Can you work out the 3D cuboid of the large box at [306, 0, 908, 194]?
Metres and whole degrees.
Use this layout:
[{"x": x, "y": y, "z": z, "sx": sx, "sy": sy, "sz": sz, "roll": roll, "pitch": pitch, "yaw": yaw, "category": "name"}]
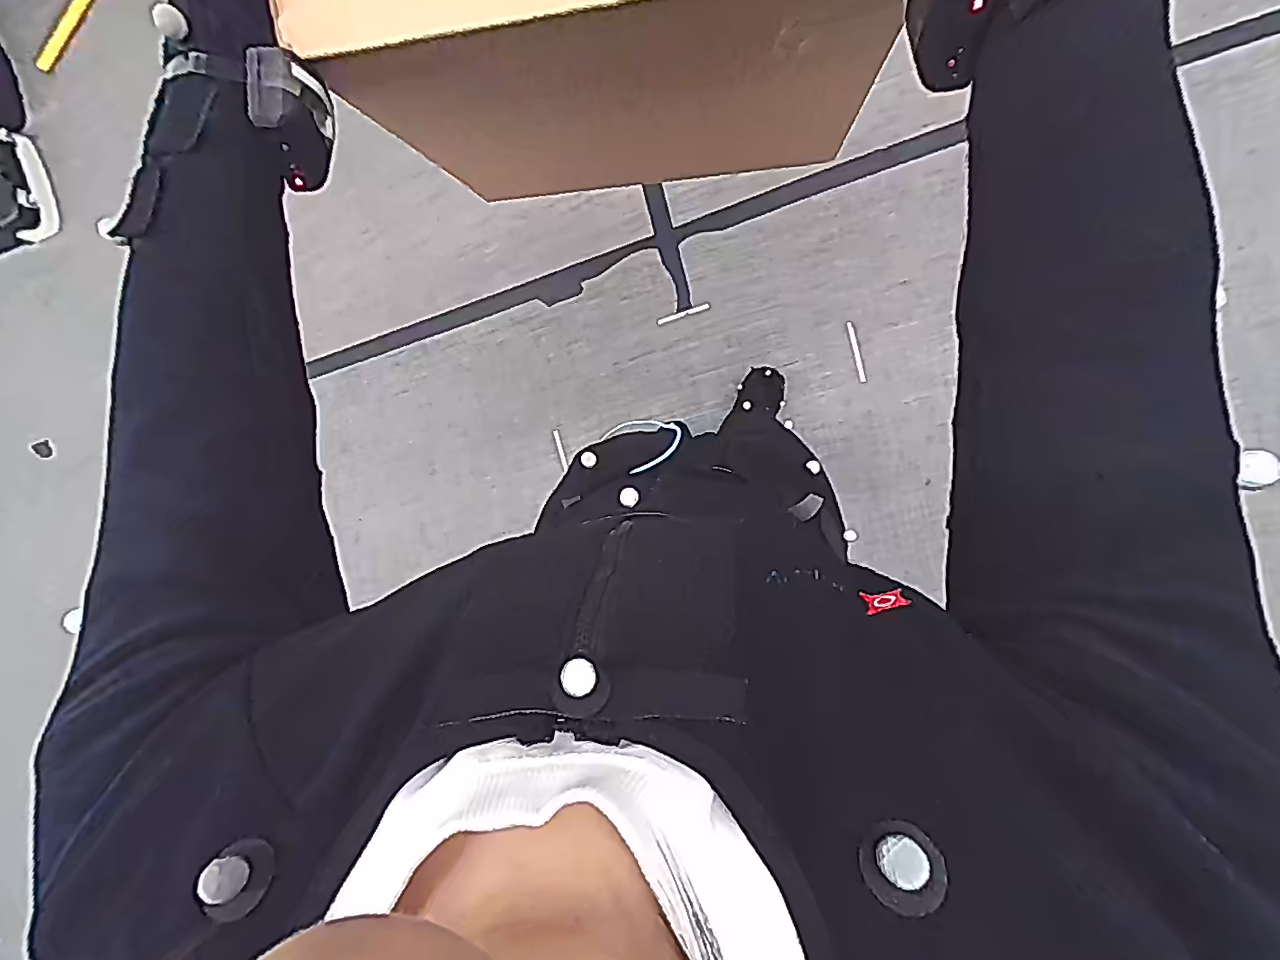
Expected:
[{"x": -0.014, "y": -0.472, "z": 0.449, "sx": 0.408, "sy": 0.320, "sz": 0.320, "roll": -2, "pitch": 101, "yaw": 8, "category": "large box"}]
